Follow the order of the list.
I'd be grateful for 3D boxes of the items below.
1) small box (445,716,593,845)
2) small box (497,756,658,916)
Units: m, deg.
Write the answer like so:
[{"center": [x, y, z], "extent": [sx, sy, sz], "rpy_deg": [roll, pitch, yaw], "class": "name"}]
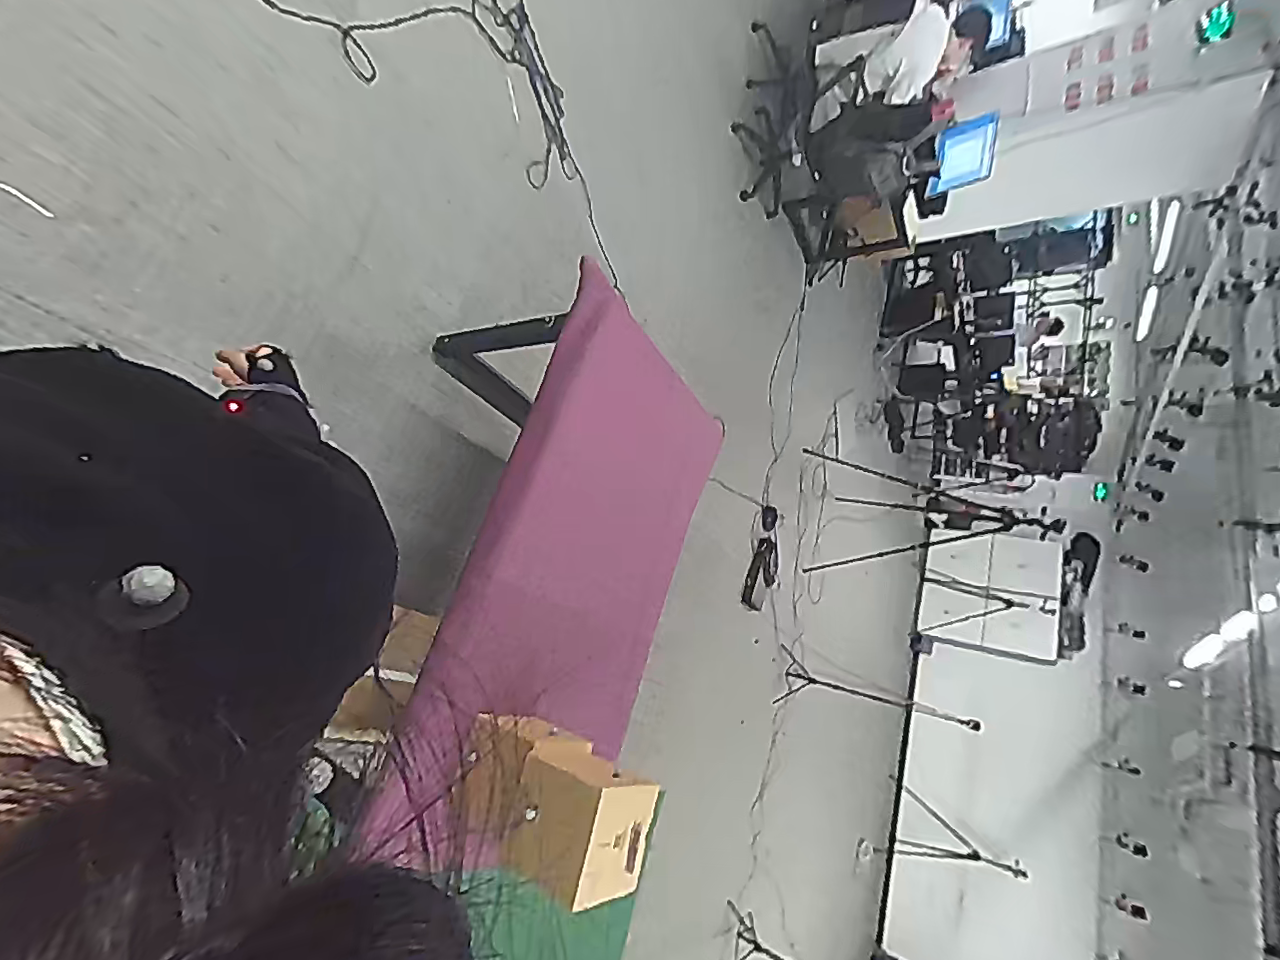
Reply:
[{"center": [-0.222, 0.552, 1.007], "extent": [0.179, 0.176, 0.168], "rpy_deg": [37, 63, -49], "class": "small box"}, {"center": [-0.100, 0.572, 0.897], "extent": [0.179, 0.176, 0.168], "rpy_deg": [37, 62, -49], "class": "small box"}]
